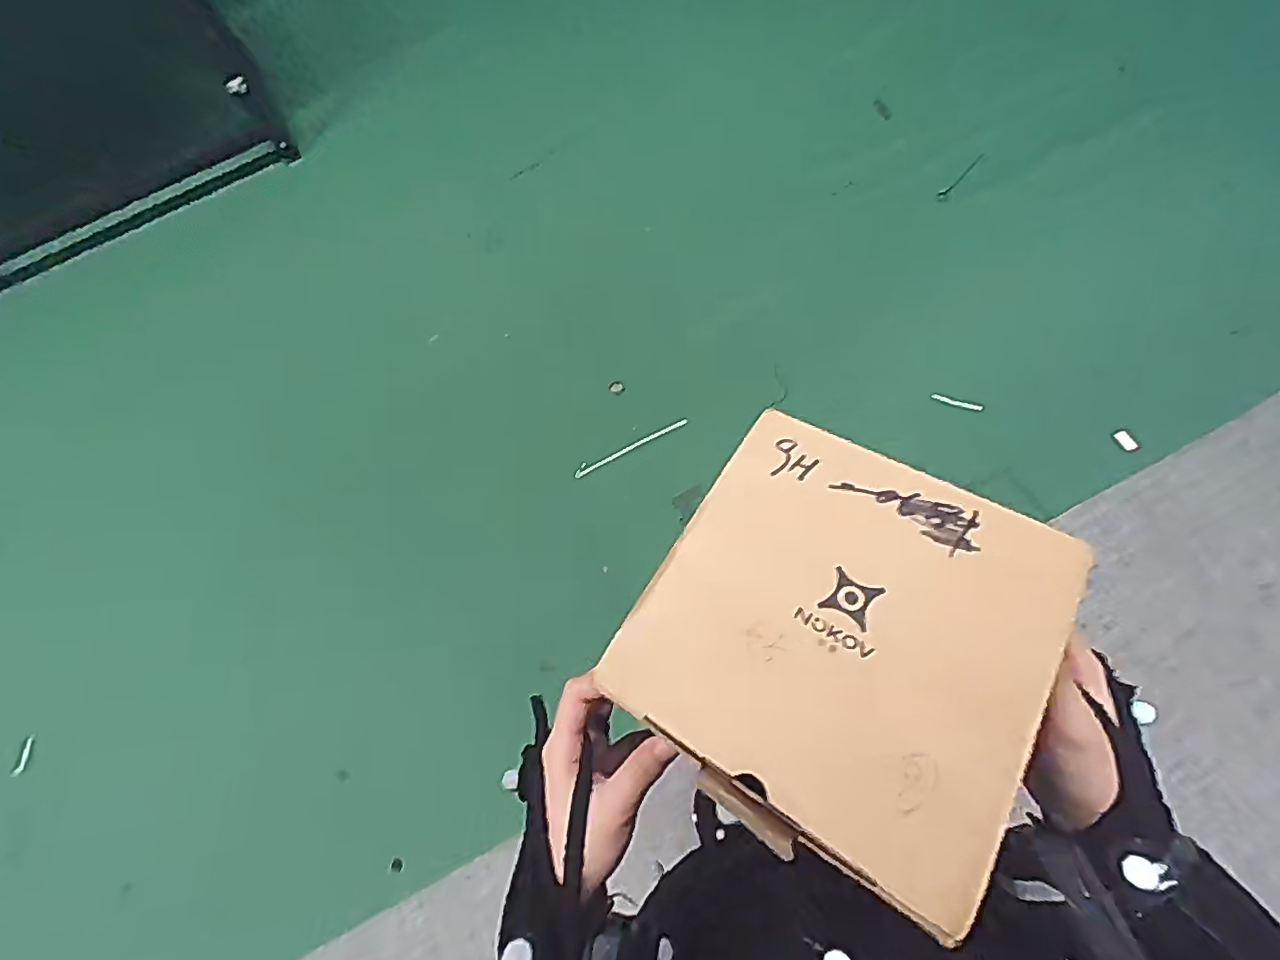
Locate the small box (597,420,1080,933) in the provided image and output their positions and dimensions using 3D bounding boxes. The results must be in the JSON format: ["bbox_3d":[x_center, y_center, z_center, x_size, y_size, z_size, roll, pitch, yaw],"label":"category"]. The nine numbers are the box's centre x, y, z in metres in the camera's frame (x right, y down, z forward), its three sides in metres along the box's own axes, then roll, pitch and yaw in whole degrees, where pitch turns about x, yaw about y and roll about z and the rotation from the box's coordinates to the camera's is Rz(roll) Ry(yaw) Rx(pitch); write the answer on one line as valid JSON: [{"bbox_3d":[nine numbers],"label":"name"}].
[{"bbox_3d":[0.103,0.103,0.322,0.168,0.176,0.179,28,70,21],"label":"small box"}]
